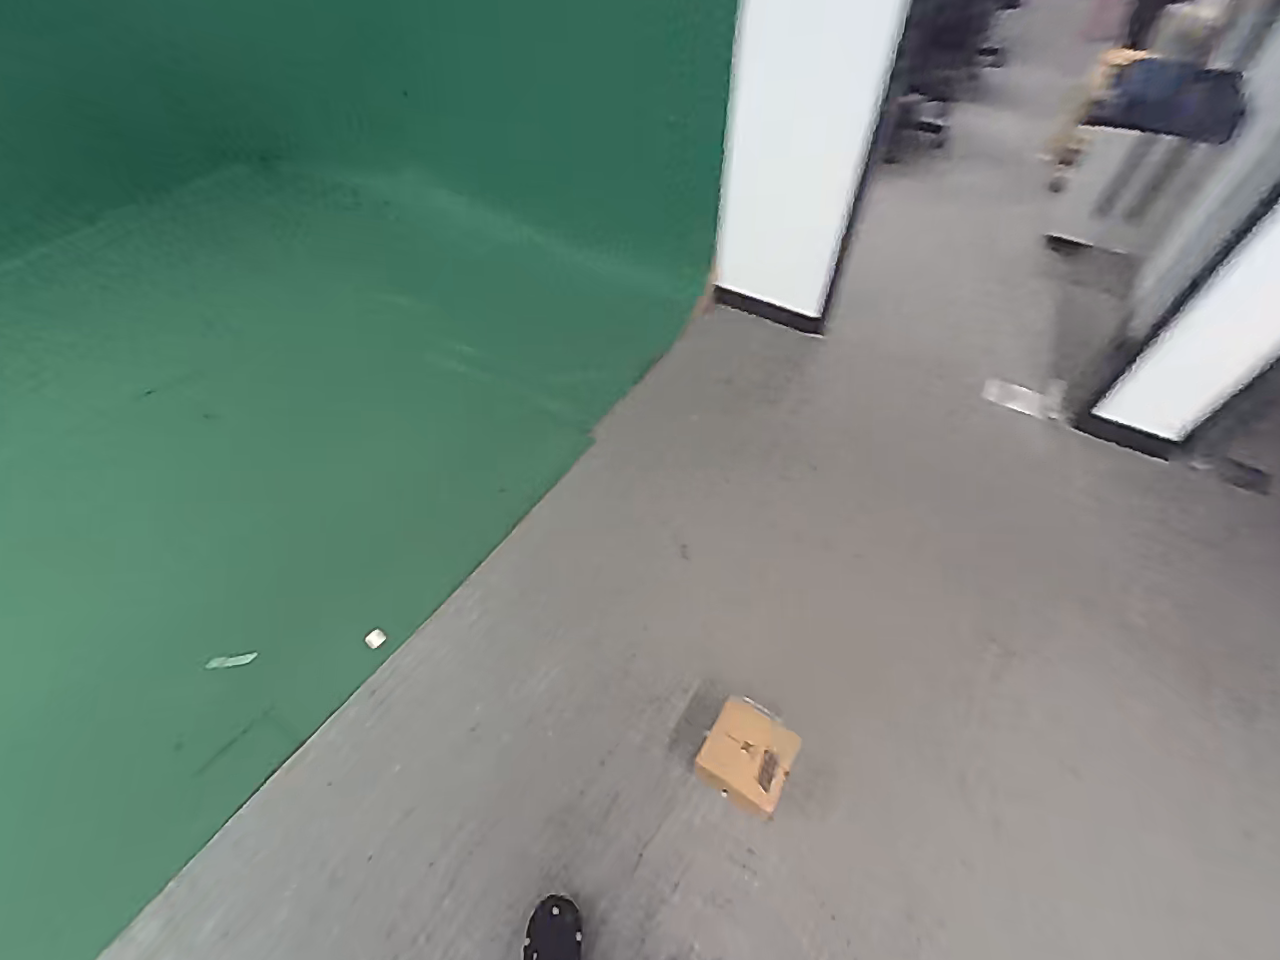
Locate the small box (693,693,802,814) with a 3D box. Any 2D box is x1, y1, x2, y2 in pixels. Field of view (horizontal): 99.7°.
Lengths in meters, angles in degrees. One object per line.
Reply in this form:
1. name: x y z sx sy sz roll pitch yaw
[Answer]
1. small box: 0.234 0.615 1.207 0.179 0.176 0.168 27 58 22
